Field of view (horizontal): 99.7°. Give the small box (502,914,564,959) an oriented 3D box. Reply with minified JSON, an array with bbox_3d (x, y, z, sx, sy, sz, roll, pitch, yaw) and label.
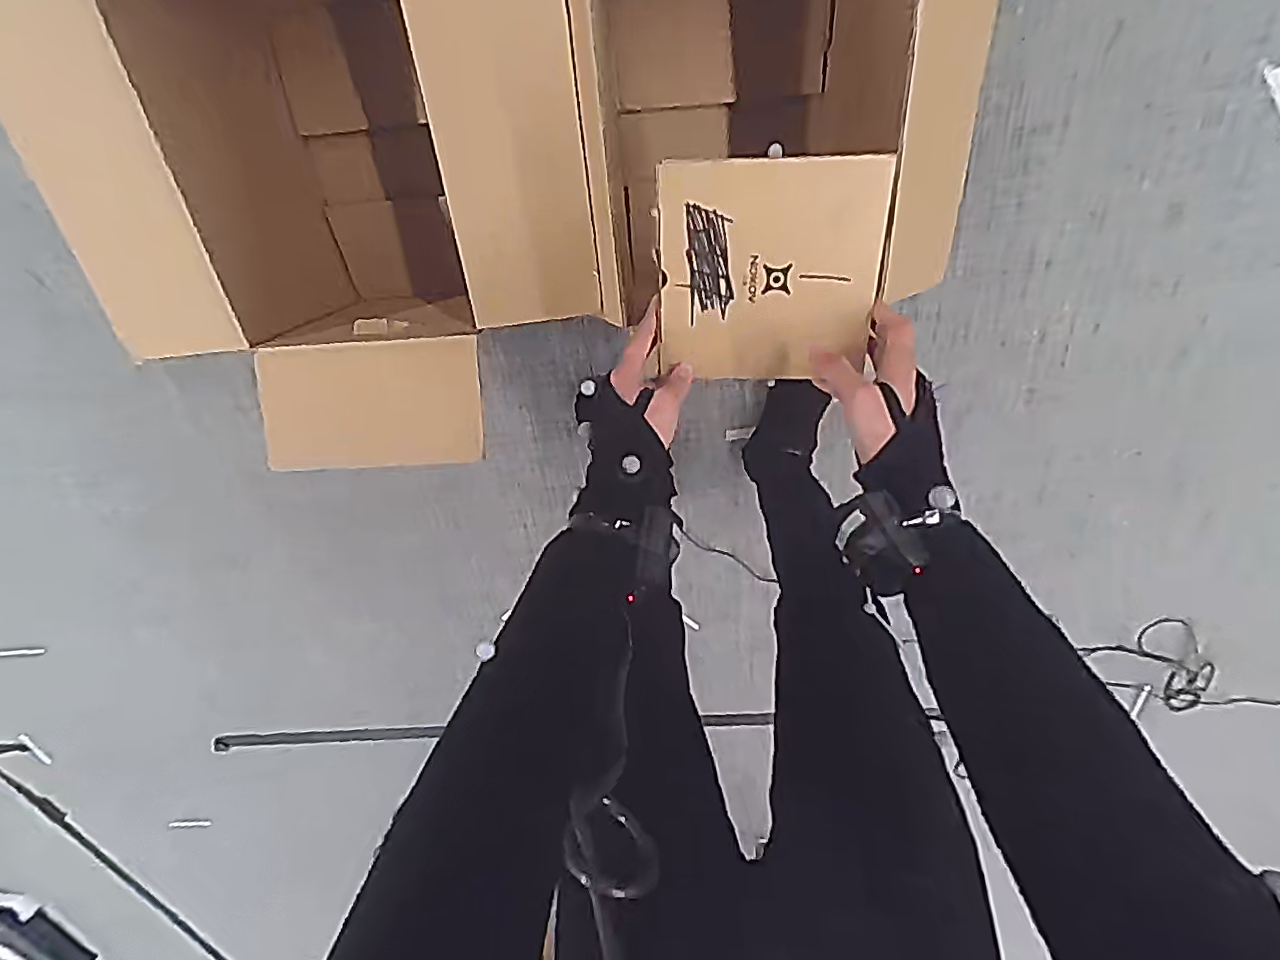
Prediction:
[{"bbox_3d":[-0.352,1.563,1.780,0.168,0.176,0.179,-4,120,4],"label":"small box"}]

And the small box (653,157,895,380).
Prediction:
[{"bbox_3d":[0.106,-0.194,0.501,0.179,0.176,0.168,1,116,5],"label":"small box"}]
